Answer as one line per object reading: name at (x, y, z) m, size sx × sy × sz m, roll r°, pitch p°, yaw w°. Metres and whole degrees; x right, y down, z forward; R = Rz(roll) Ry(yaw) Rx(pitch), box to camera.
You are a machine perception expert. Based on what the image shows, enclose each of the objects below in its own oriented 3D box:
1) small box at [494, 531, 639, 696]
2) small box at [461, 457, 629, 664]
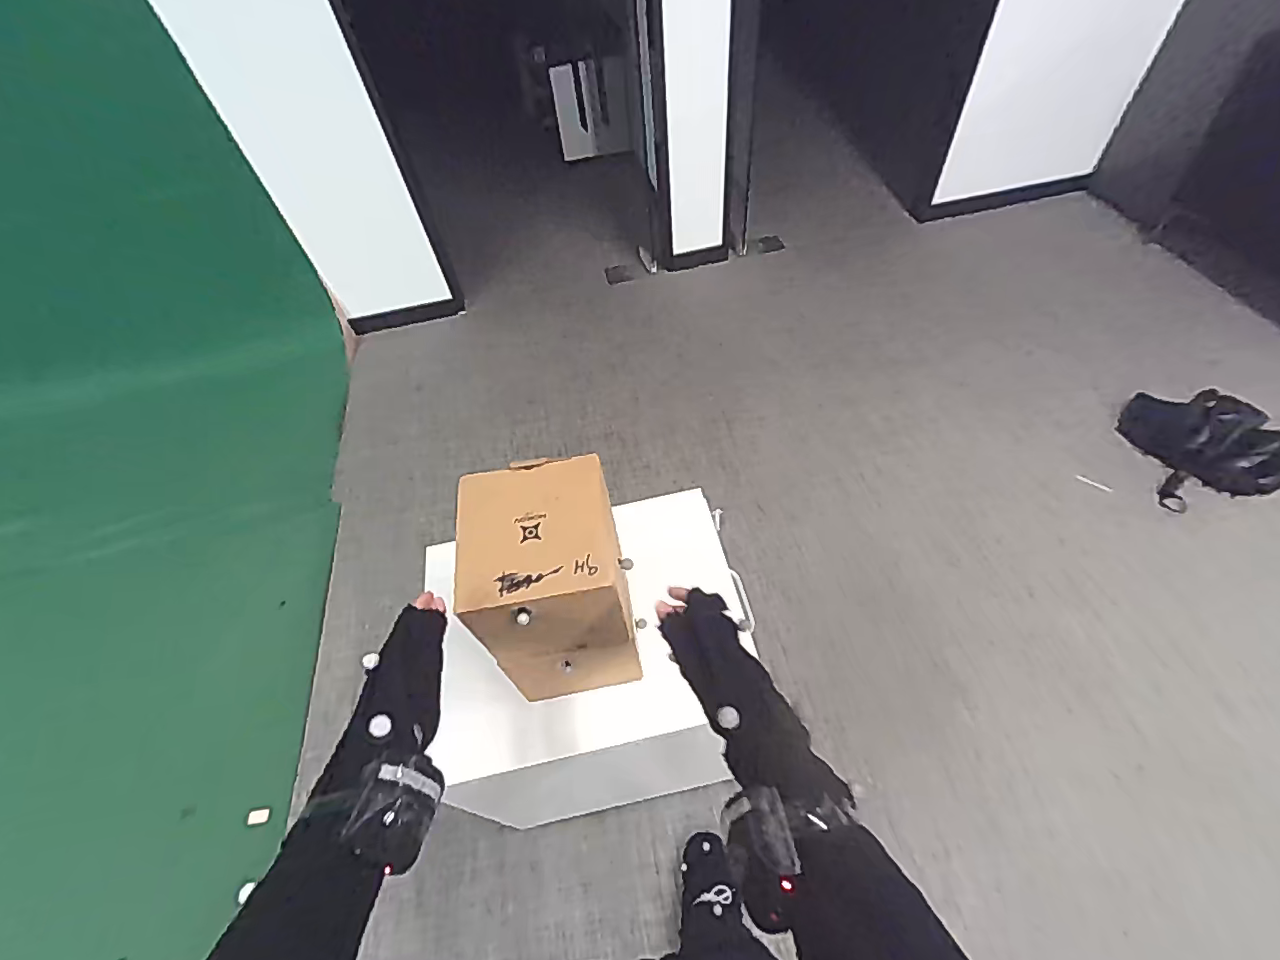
small box at (-0.104, 0.199, 0.788) m, size 0.179 × 0.176 × 0.168 m, roll -10°, pitch 53°, yaw -3°
small box at (-0.112, 0.101, 0.661) m, size 0.168 × 0.176 × 0.179 m, roll -11°, pitch 55°, yaw -4°
